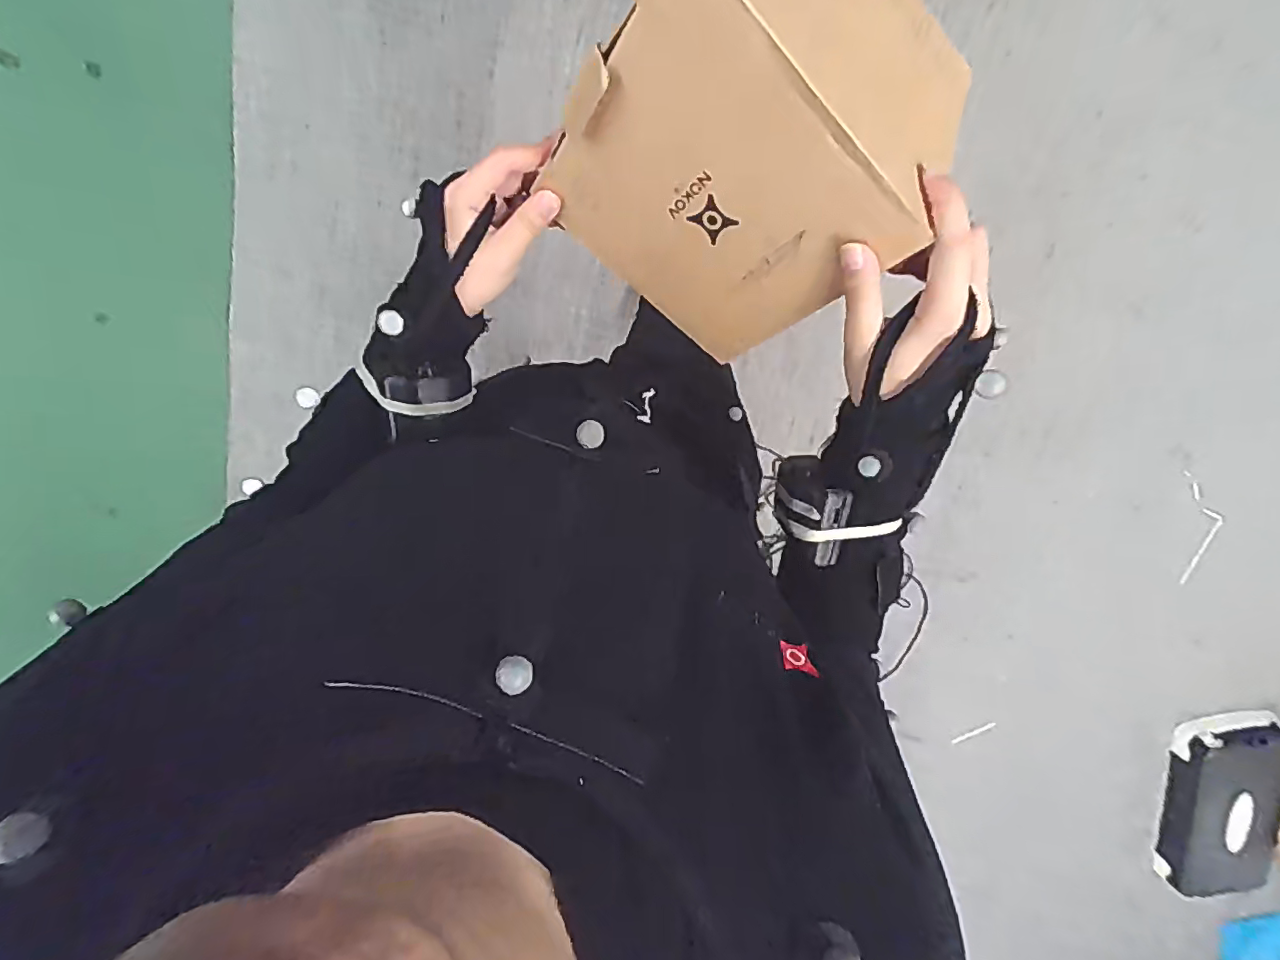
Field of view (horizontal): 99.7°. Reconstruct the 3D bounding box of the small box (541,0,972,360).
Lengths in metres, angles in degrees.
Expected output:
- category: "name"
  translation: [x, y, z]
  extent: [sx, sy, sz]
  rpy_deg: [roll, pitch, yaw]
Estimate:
- category: "small box"
  translation: [0.074, -0.215, 0.336]
  extent: [0.179, 0.168, 0.176]
  rpy_deg: [34, 63, -20]
